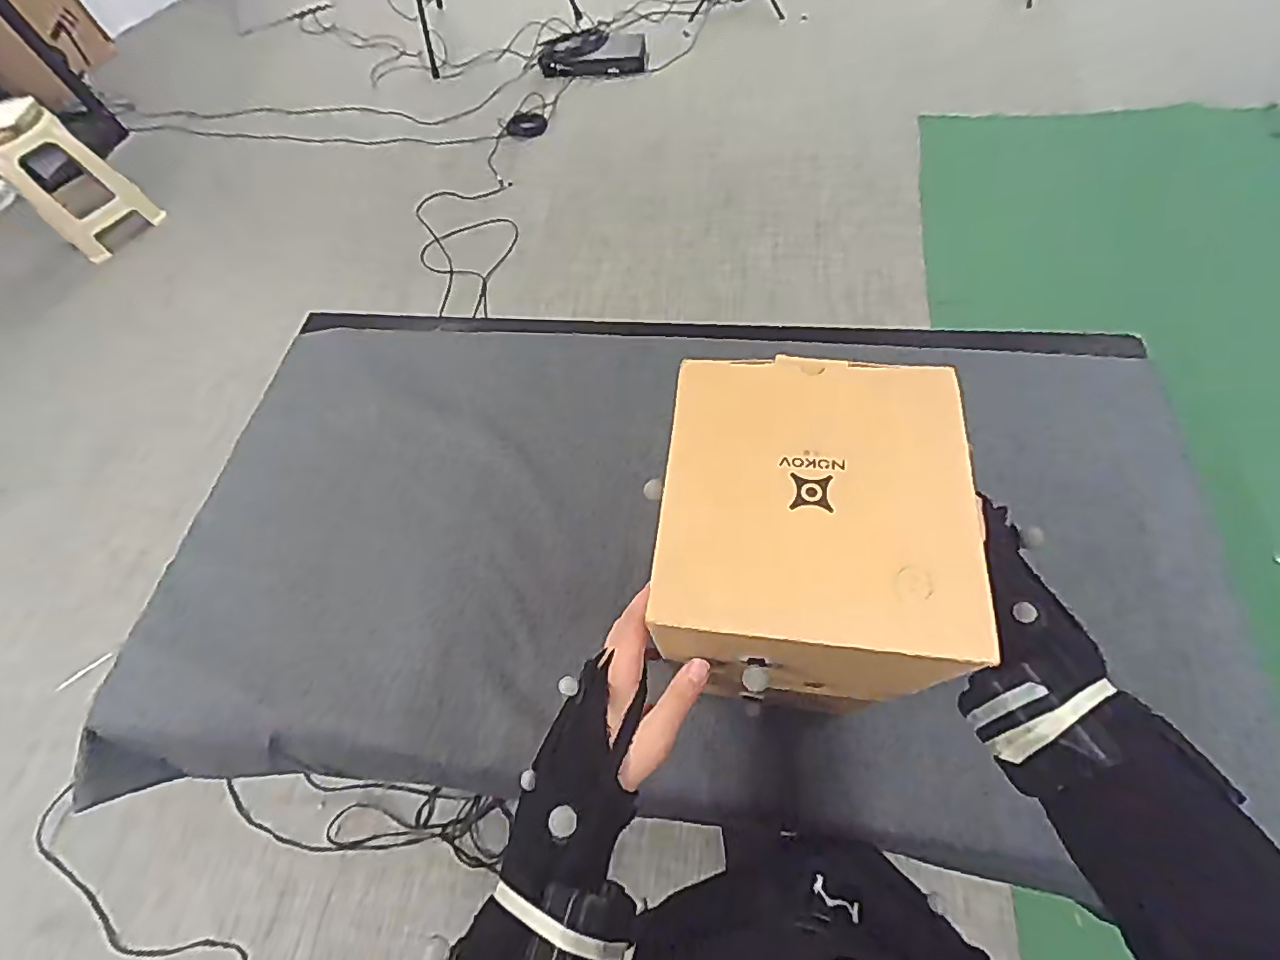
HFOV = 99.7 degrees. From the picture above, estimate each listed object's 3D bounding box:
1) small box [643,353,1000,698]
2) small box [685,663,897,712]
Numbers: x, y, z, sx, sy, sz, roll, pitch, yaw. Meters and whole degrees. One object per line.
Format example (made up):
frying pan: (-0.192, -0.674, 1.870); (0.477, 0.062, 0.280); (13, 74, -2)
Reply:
small box: (0.105, 0.037, 0.361); (0.168, 0.176, 0.179); (4, 62, 11)
small box: (0.130, 0.107, 0.506); (0.168, 0.176, 0.179); (5, 64, 11)
